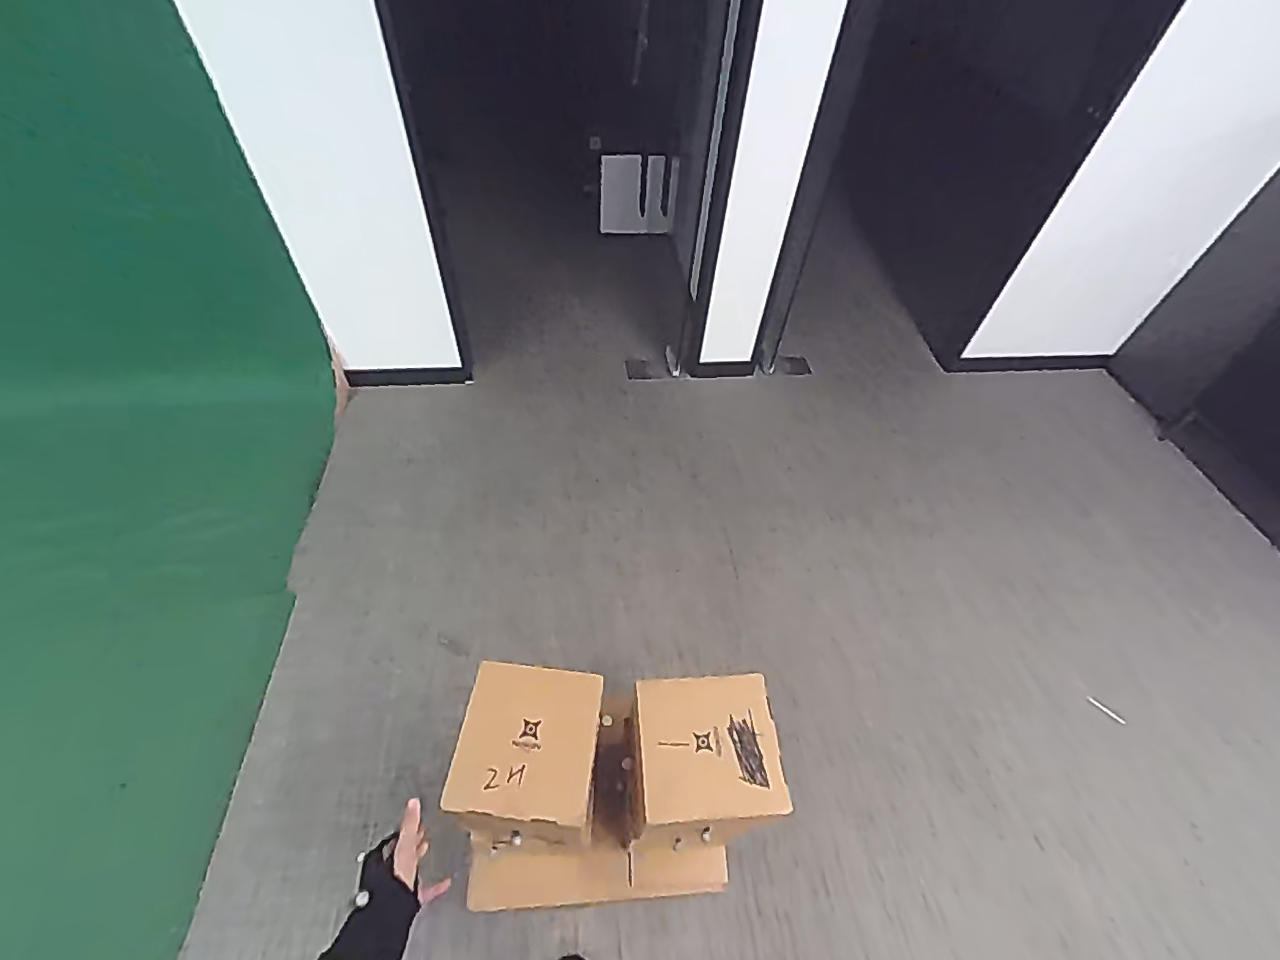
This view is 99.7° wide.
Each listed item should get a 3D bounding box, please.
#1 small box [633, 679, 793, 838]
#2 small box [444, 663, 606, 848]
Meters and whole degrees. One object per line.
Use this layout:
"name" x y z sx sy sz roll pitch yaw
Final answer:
"small box" 0.085 0.379 0.733 0.179 0.176 0.168 1 52 -4
"small box" -0.141 0.371 0.726 0.168 0.176 0.179 7 50 1
